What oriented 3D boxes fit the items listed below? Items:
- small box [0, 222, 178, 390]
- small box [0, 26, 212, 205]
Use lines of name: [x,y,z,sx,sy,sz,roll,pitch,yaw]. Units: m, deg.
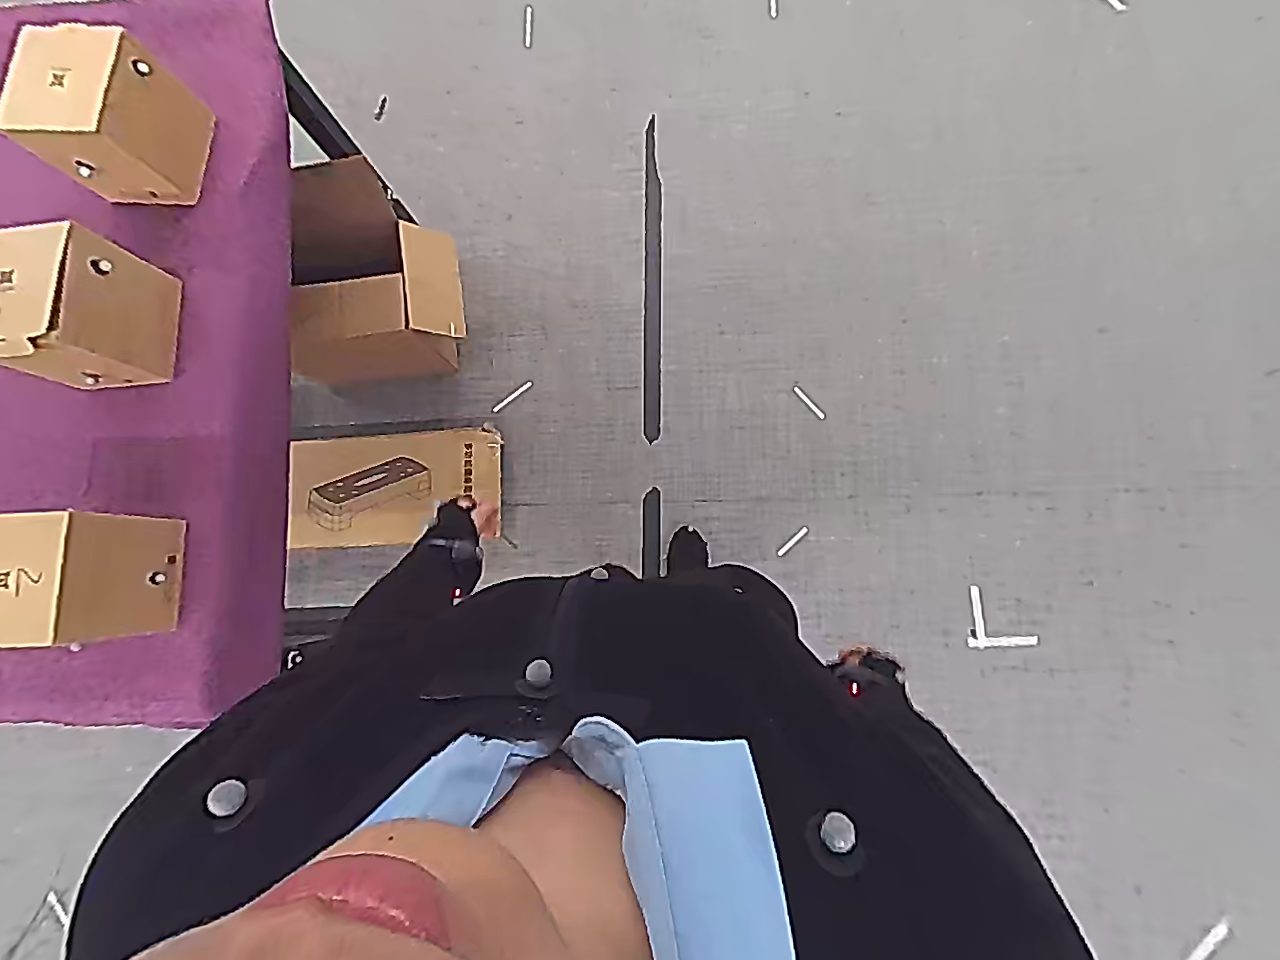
small box: [-0.839,-0.248,0.804,0.168,0.176,0.179,-4,81,6]
small box: [-0.829,-0.563,0.854,0.168,0.176,0.179,4,81,5]
